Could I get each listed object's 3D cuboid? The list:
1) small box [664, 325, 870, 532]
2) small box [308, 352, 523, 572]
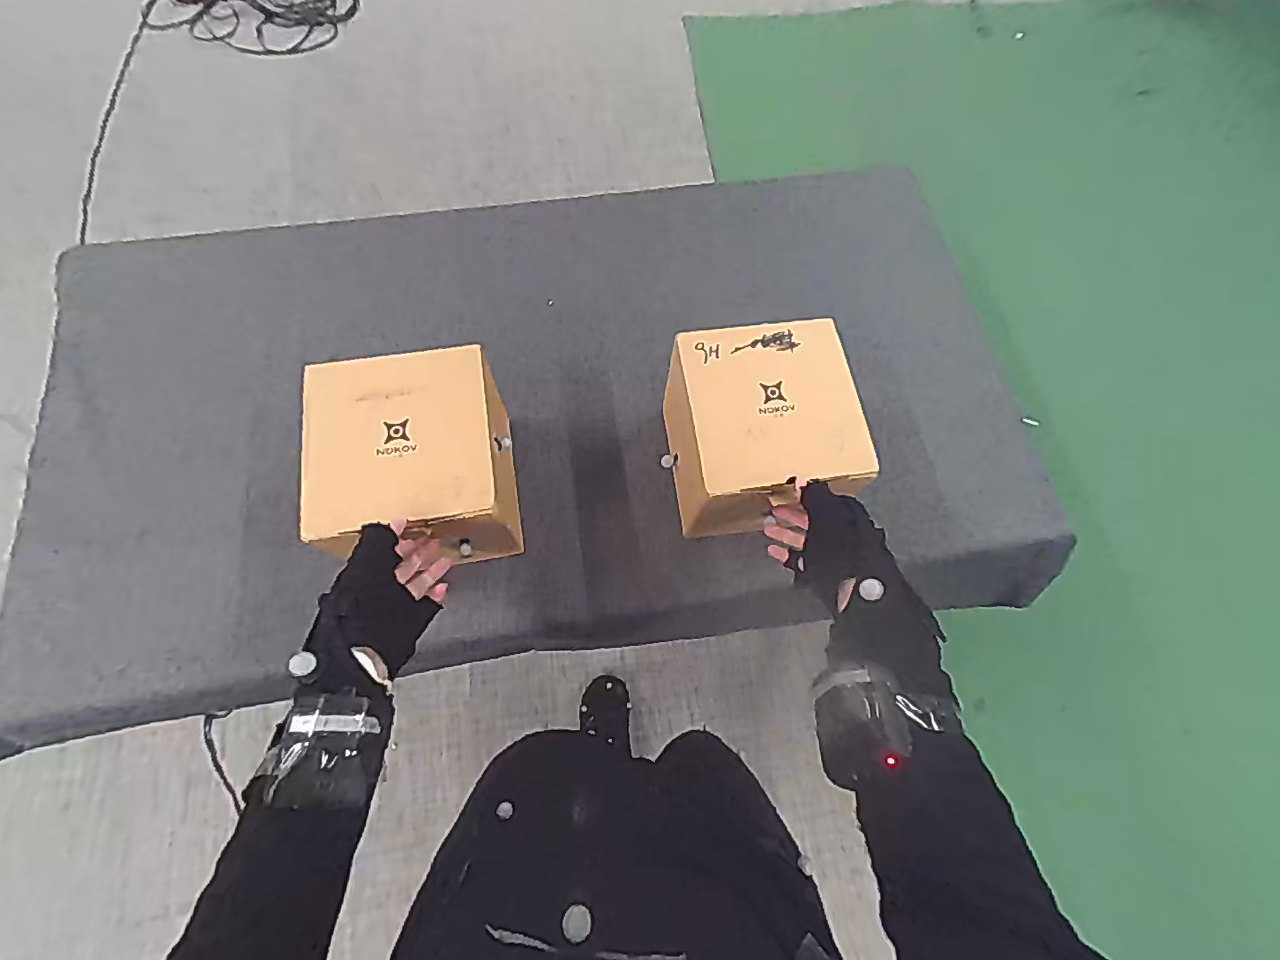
[{"bbox_3d":[0.124,-0.045,0.605,0.168,0.176,0.179,-7,71,-5],"label":"small box"},{"bbox_3d":[-0.225,-0.008,0.575,0.168,0.176,0.179,-9,69,-8],"label":"small box"}]
